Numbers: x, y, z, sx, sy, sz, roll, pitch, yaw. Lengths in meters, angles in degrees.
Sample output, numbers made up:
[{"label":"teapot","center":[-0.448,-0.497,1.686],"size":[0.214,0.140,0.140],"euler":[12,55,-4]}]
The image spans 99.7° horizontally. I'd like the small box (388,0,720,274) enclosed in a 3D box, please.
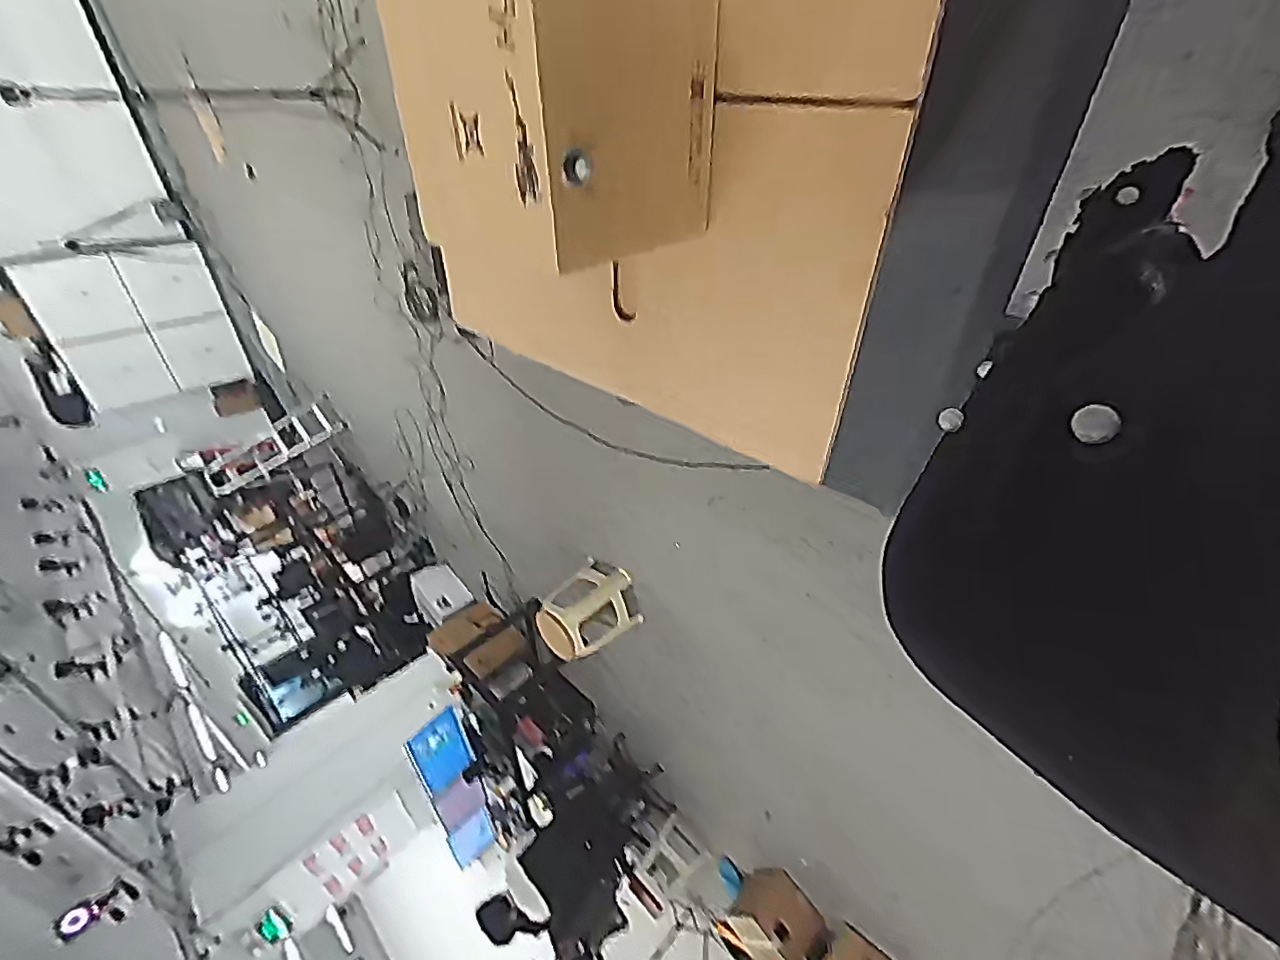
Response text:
[{"label":"small box","center":[-0.061,-0.278,0.427],"size":[0.179,0.176,0.168],"euler":[29,136,35]}]
